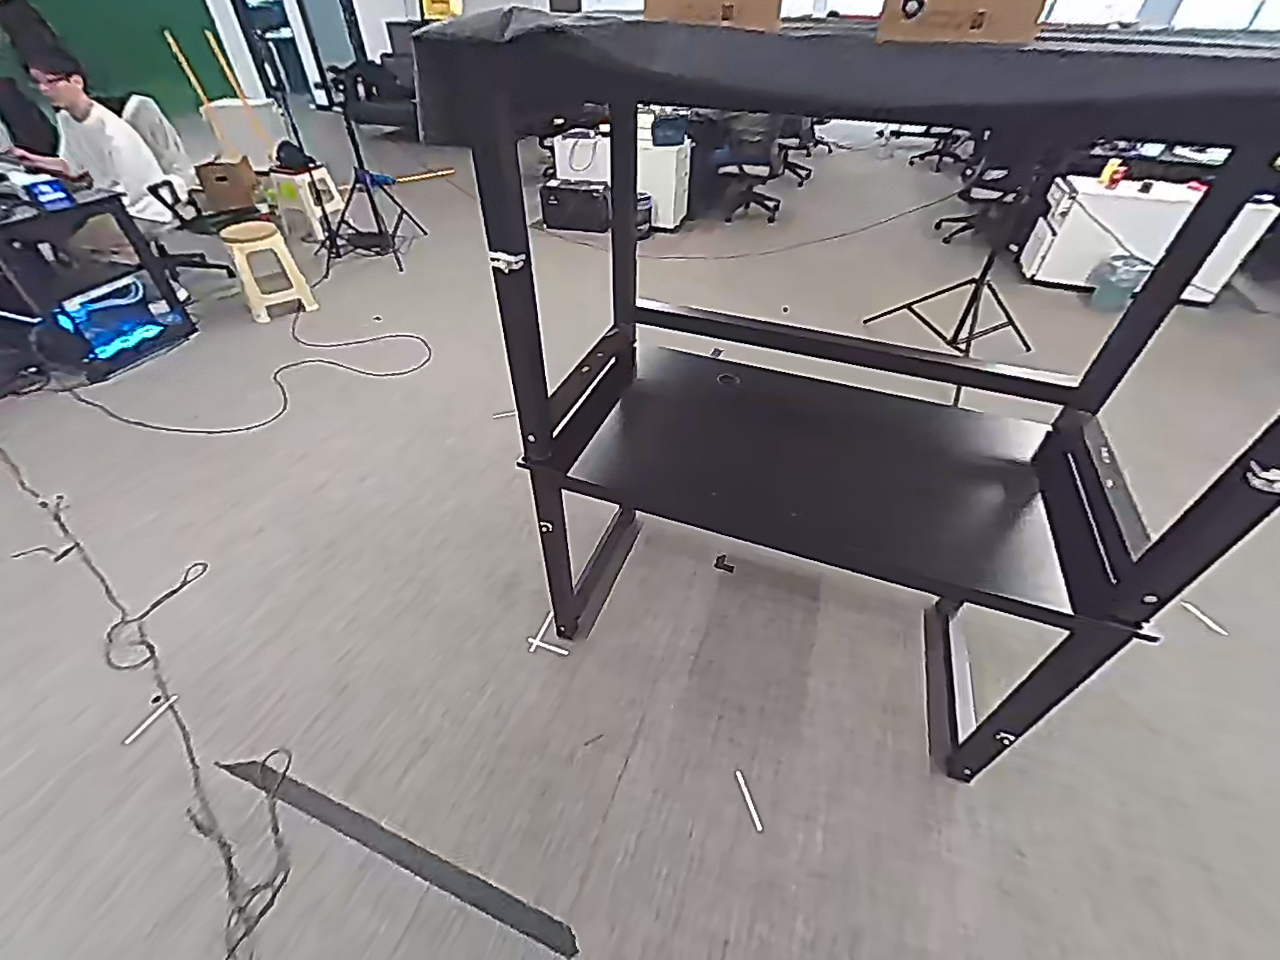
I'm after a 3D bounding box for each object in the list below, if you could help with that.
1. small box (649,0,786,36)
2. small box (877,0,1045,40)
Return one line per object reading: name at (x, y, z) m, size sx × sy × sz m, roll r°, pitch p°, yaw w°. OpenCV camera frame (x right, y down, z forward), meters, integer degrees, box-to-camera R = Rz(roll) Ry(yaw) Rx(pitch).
small box at (0.106, -0.666, 0.669) m, size 0.168 × 0.176 × 0.179 m, roll 9°, pitch 42°, yaw 9°
small box at (0.381, -0.610, 0.613) m, size 0.168 × 0.176 × 0.179 m, roll 14°, pitch 42°, yaw 14°
